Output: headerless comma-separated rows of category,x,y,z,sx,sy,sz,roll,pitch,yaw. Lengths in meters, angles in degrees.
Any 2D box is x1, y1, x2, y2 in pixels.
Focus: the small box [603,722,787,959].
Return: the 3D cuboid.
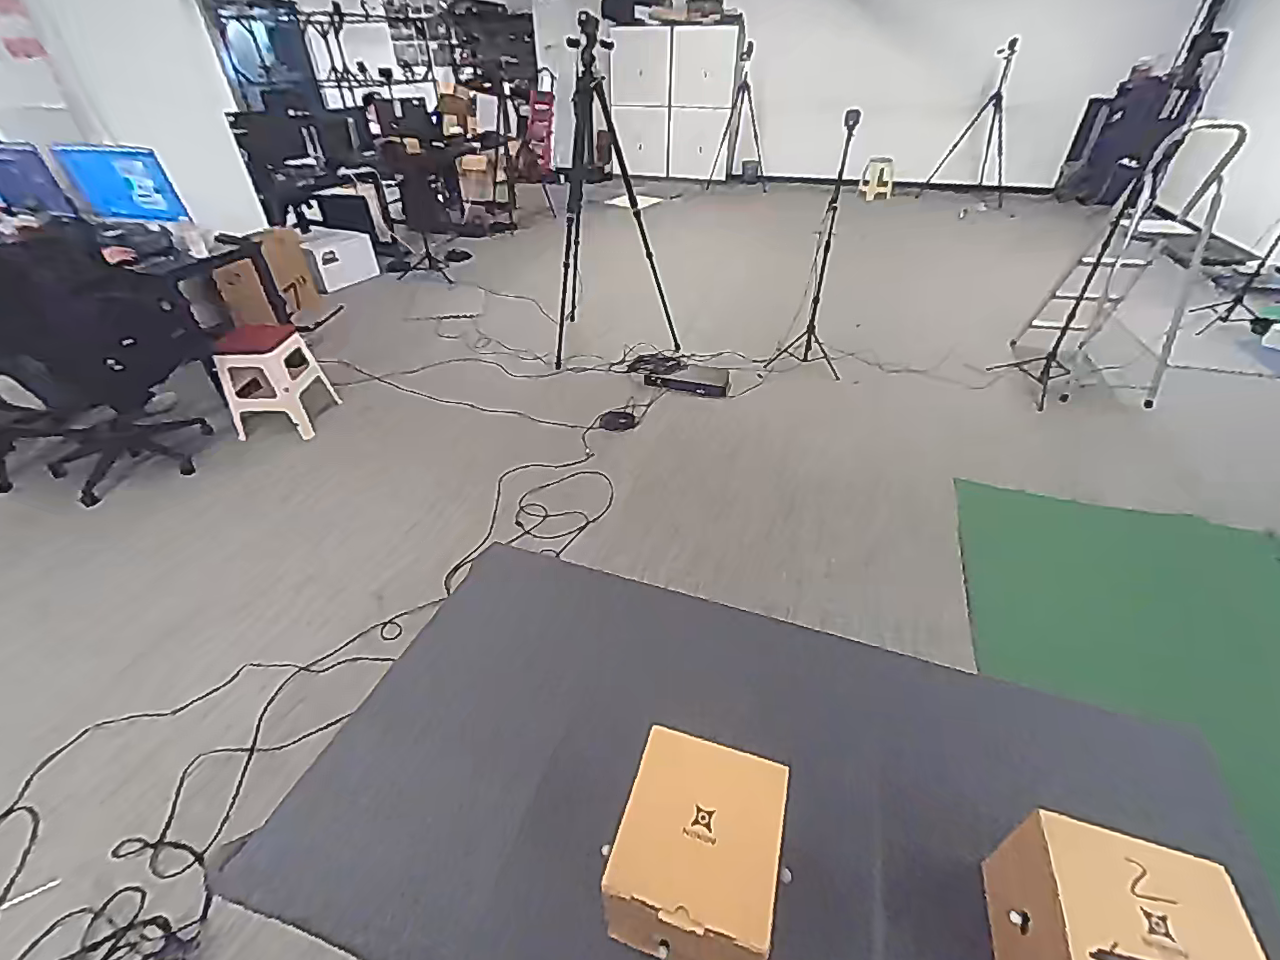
small box,0.064,0.423,0.622,0.168,0.176,0.179,12,40,14
